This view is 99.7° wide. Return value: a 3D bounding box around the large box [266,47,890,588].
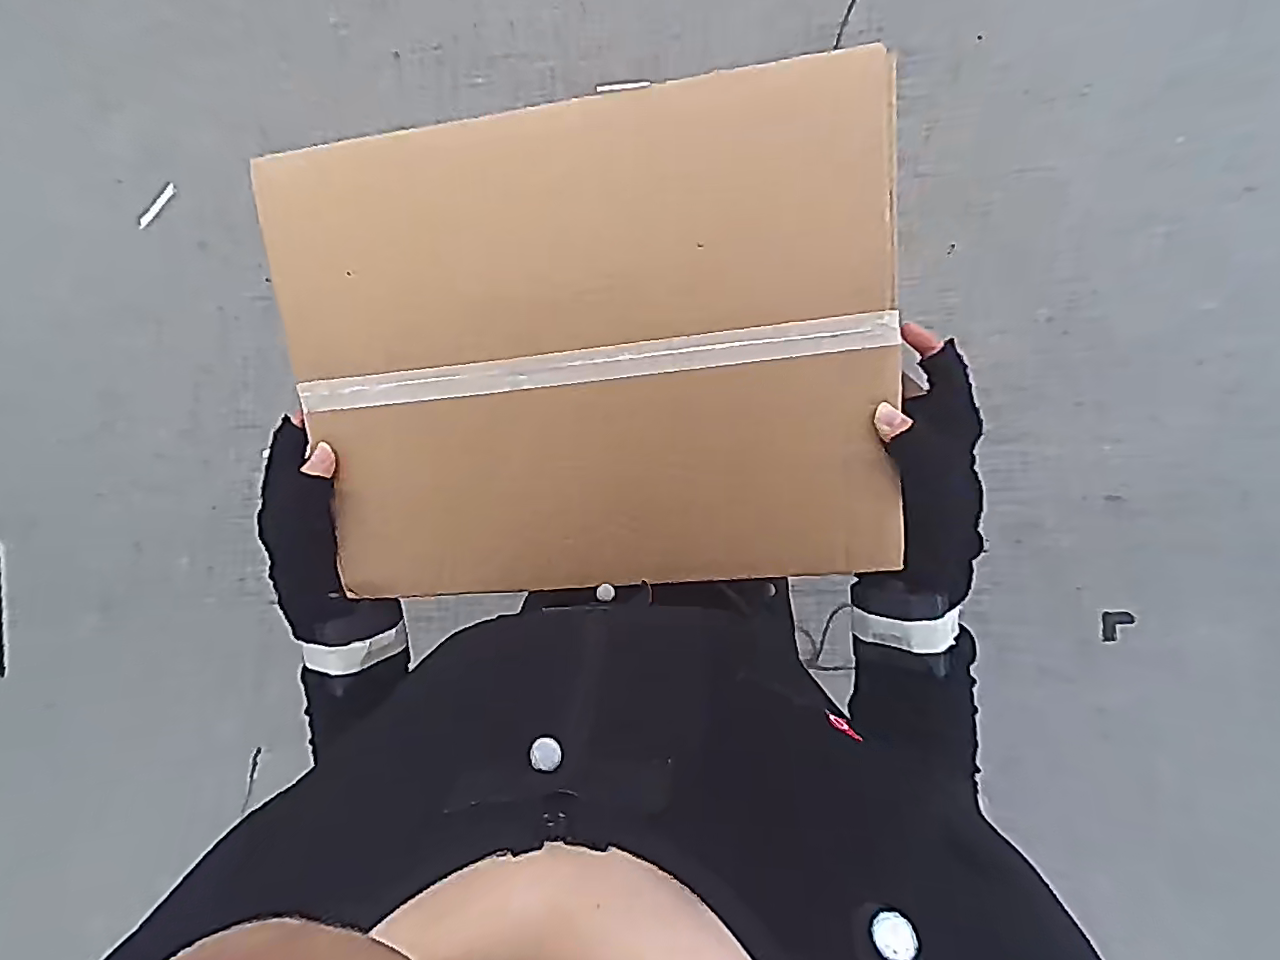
[{"bbox_3d":[-0.023,-0.114,0.511,0.408,0.320,0.320,-5,101,8],"label":"large box"}]
